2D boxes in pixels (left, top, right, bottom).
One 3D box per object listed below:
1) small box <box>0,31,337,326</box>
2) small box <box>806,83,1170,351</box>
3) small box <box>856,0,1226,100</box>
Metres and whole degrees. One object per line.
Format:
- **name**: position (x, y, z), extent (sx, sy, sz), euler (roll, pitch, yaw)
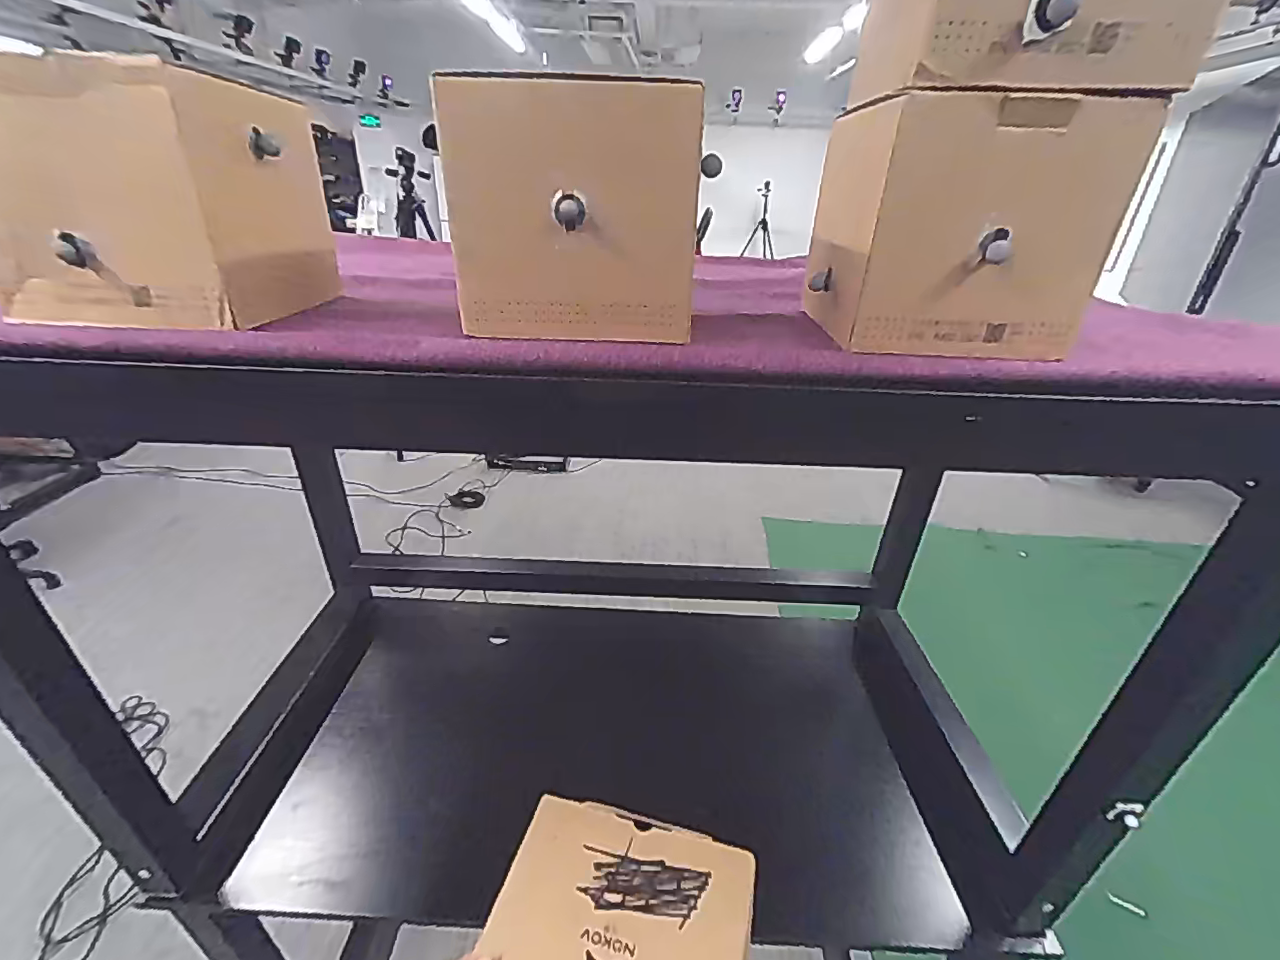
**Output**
- **small box**: position (-0.370, -0.230, 0.434), extent (0.168, 0.176, 0.179), euler (1, 28, -3)
- **small box**: position (0.246, -0.210, 0.443), extent (0.168, 0.176, 0.179), euler (3, 29, 1)
- **small box**: position (0.261, -0.352, 0.363), extent (0.168, 0.176, 0.179), euler (3, 30, 5)
